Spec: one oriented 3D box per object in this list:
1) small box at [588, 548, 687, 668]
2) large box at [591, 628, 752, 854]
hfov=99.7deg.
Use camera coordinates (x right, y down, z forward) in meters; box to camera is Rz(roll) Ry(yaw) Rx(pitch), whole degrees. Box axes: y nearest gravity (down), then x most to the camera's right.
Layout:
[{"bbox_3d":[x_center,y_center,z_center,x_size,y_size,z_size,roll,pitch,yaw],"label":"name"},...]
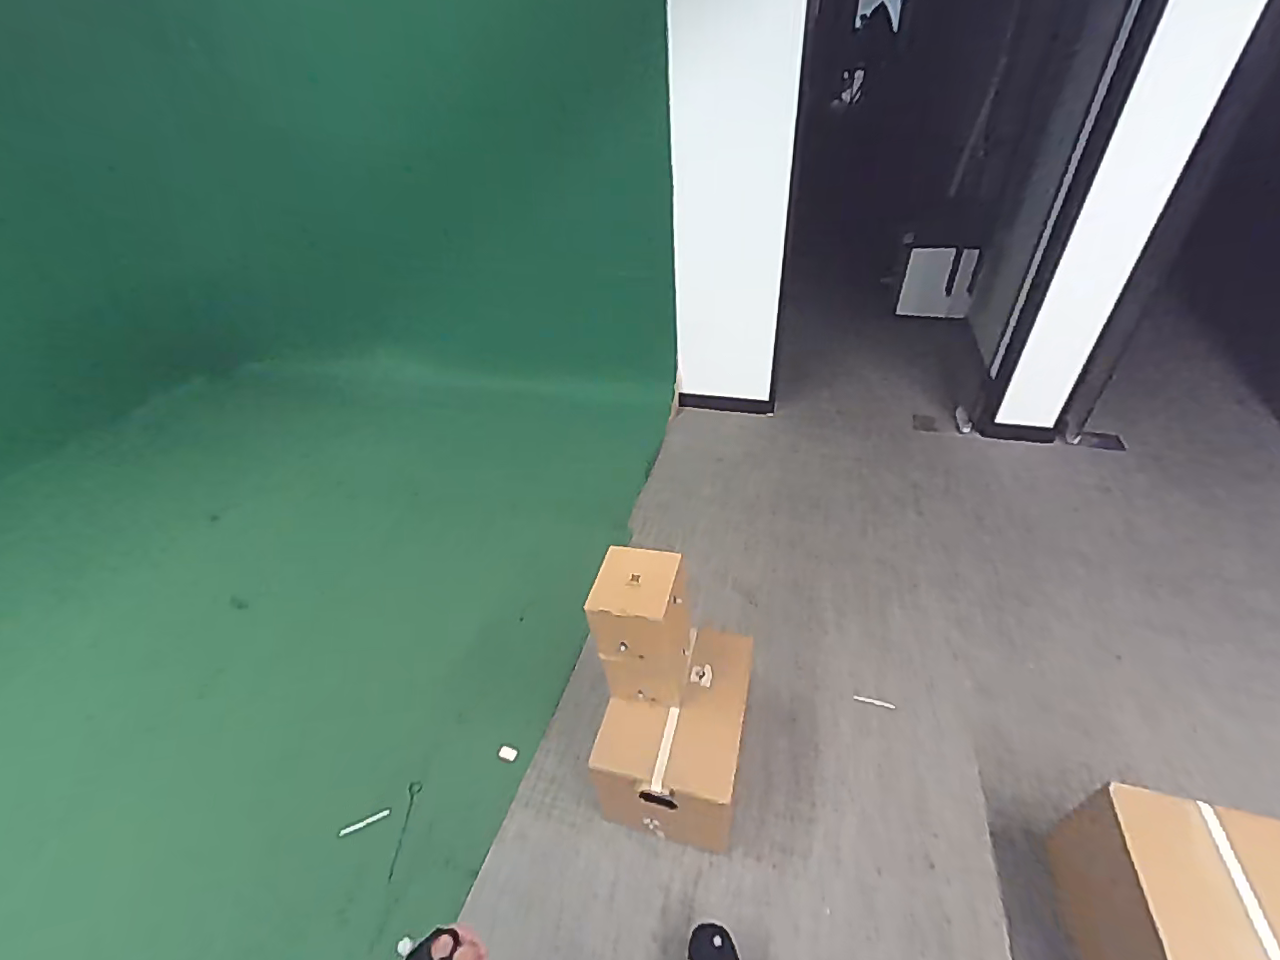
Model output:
[{"bbox_3d":[0.004,0.274,1.170,0.168,0.176,0.179,4,41,17],"label":"small box"},{"bbox_3d":[0.103,0.634,1.363,0.320,0.320,0.408,7,40,16],"label":"large box"}]
